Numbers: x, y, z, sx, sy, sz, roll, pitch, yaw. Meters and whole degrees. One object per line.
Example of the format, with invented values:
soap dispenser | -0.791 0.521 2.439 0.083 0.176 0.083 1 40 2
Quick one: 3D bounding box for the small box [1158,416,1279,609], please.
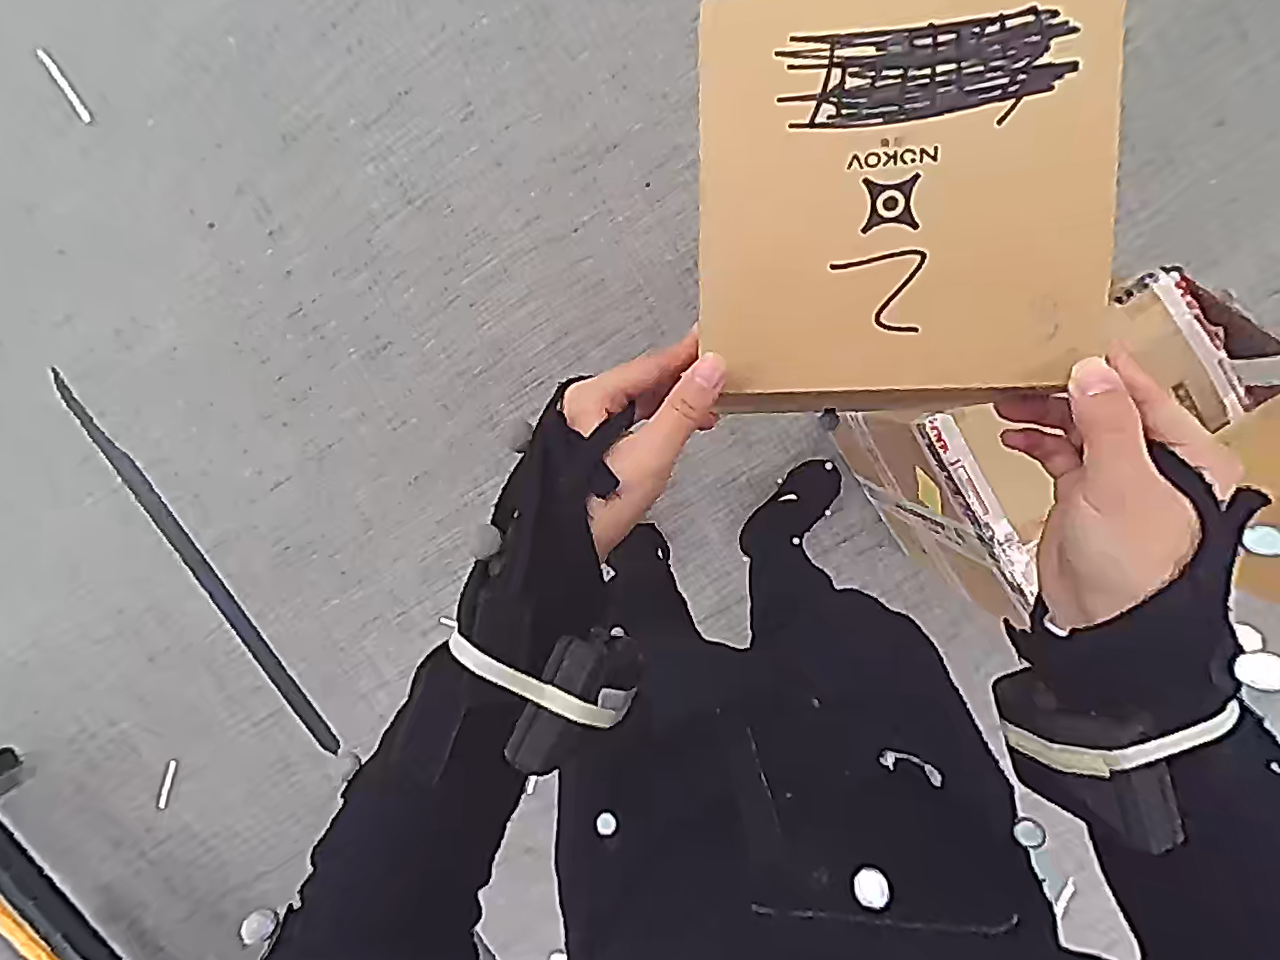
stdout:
small box | 0.733 0.039 0.583 0.168 0.176 0.179 -35 98 8
